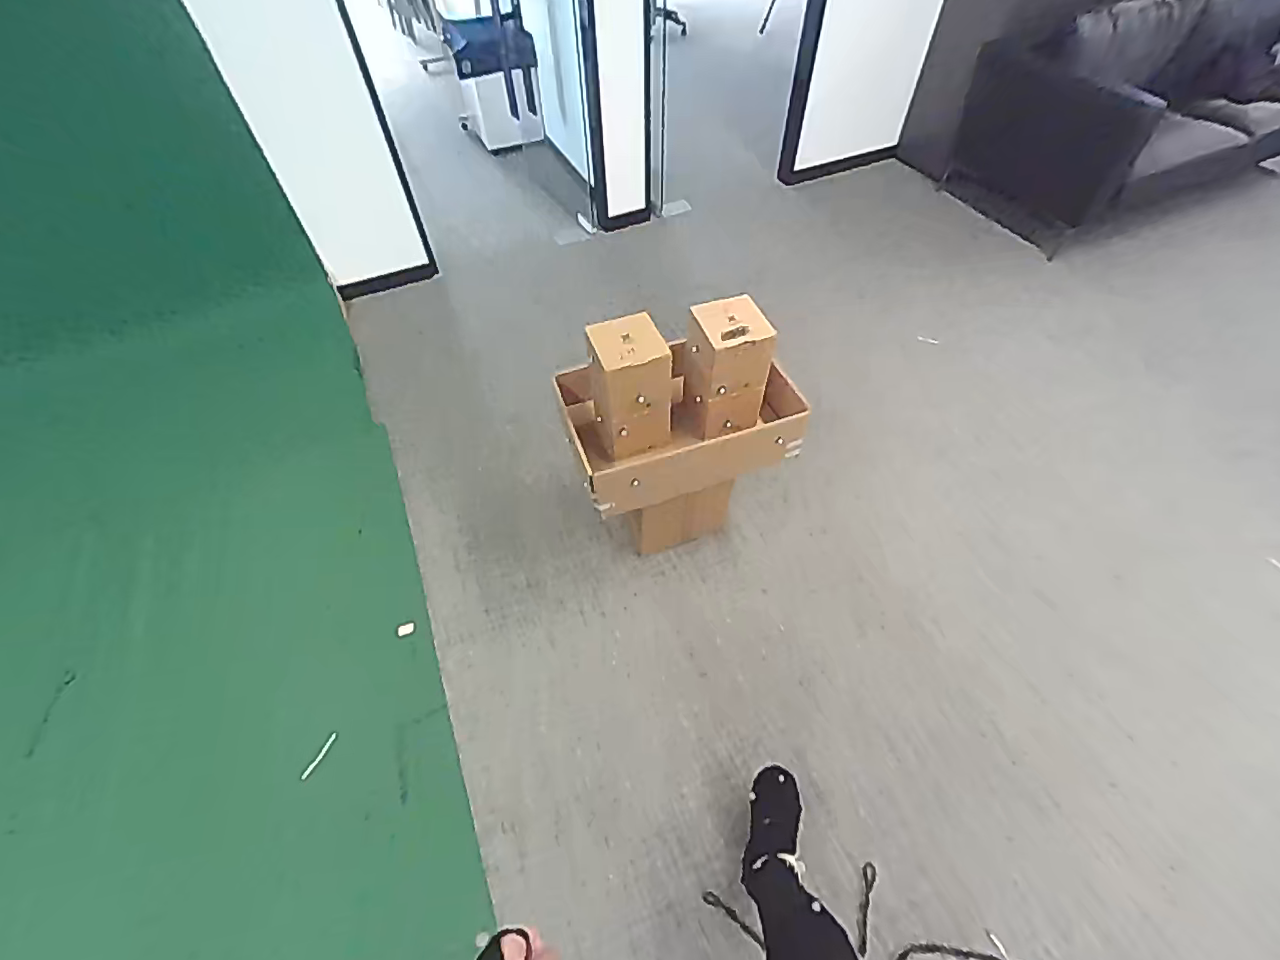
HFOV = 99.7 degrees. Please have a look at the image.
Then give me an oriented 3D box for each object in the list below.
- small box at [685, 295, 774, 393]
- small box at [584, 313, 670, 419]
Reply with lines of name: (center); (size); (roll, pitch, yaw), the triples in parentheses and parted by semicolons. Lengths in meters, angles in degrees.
small box: (0.223, -0.342, 1.390); (0.168, 0.176, 0.179); (-15, 54, -10)
small box: (-0.034, -0.283, 1.350); (0.168, 0.176, 0.179); (-17, 54, -11)
